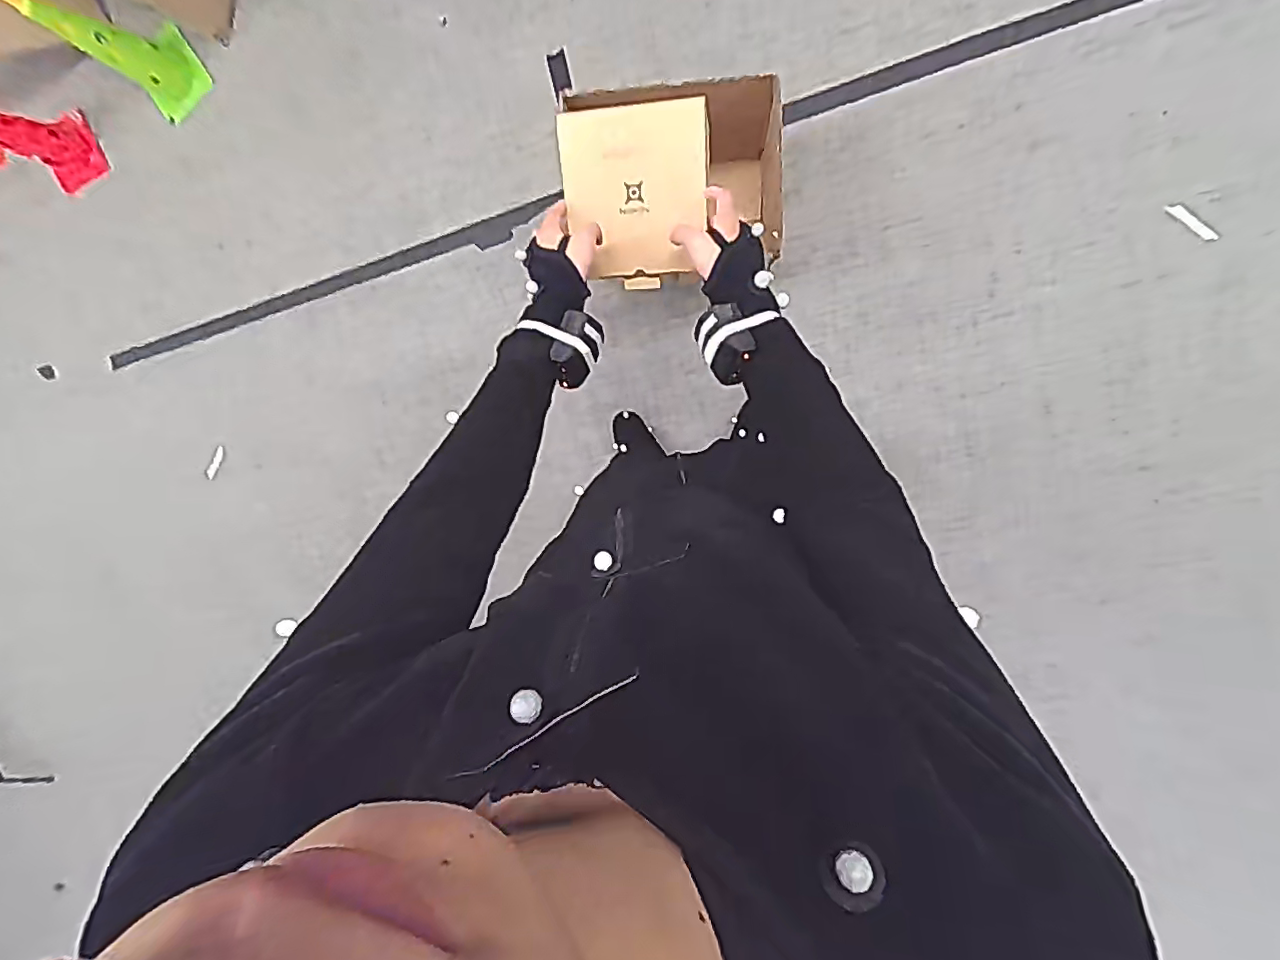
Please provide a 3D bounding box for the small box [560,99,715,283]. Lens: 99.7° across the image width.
[{"bbox_3d":[0.010,-0.353,0.680,0.168,0.176,0.179,0,115,9],"label":"small box"}]
